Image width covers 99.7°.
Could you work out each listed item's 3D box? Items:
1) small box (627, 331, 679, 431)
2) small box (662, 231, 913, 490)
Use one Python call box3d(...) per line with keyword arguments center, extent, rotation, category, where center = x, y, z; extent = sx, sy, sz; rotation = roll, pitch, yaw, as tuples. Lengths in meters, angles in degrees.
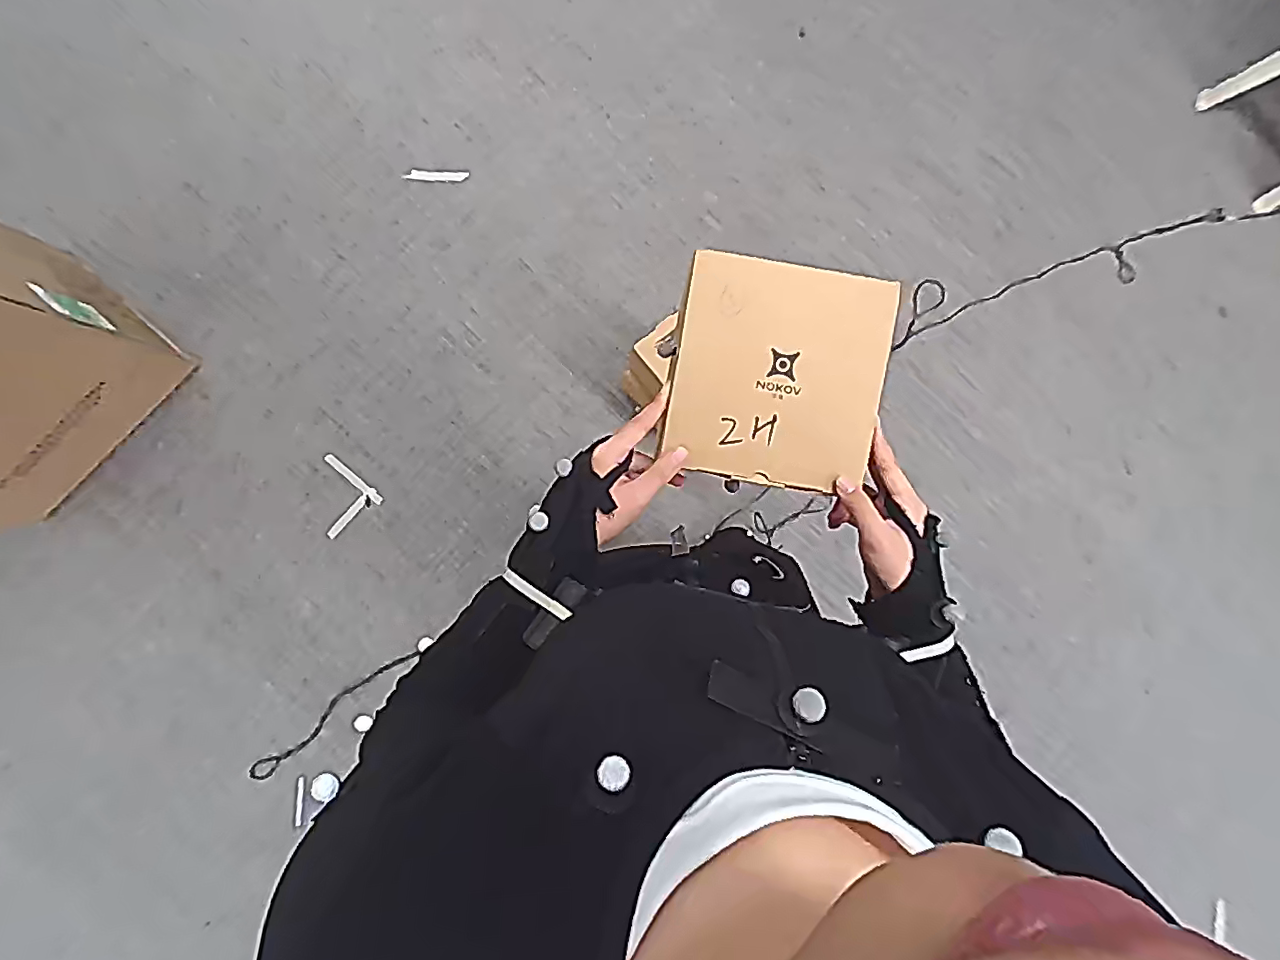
box3d(center=(0.081, -0.235, 1.307), extent=(0.179, 0.176, 0.168), rotation=(-39, 92, -3), category="small box")
box3d(center=(0.114, -0.095, 0.495), extent=(0.168, 0.176, 0.179), rotation=(10, 93, 0), category="small box")
